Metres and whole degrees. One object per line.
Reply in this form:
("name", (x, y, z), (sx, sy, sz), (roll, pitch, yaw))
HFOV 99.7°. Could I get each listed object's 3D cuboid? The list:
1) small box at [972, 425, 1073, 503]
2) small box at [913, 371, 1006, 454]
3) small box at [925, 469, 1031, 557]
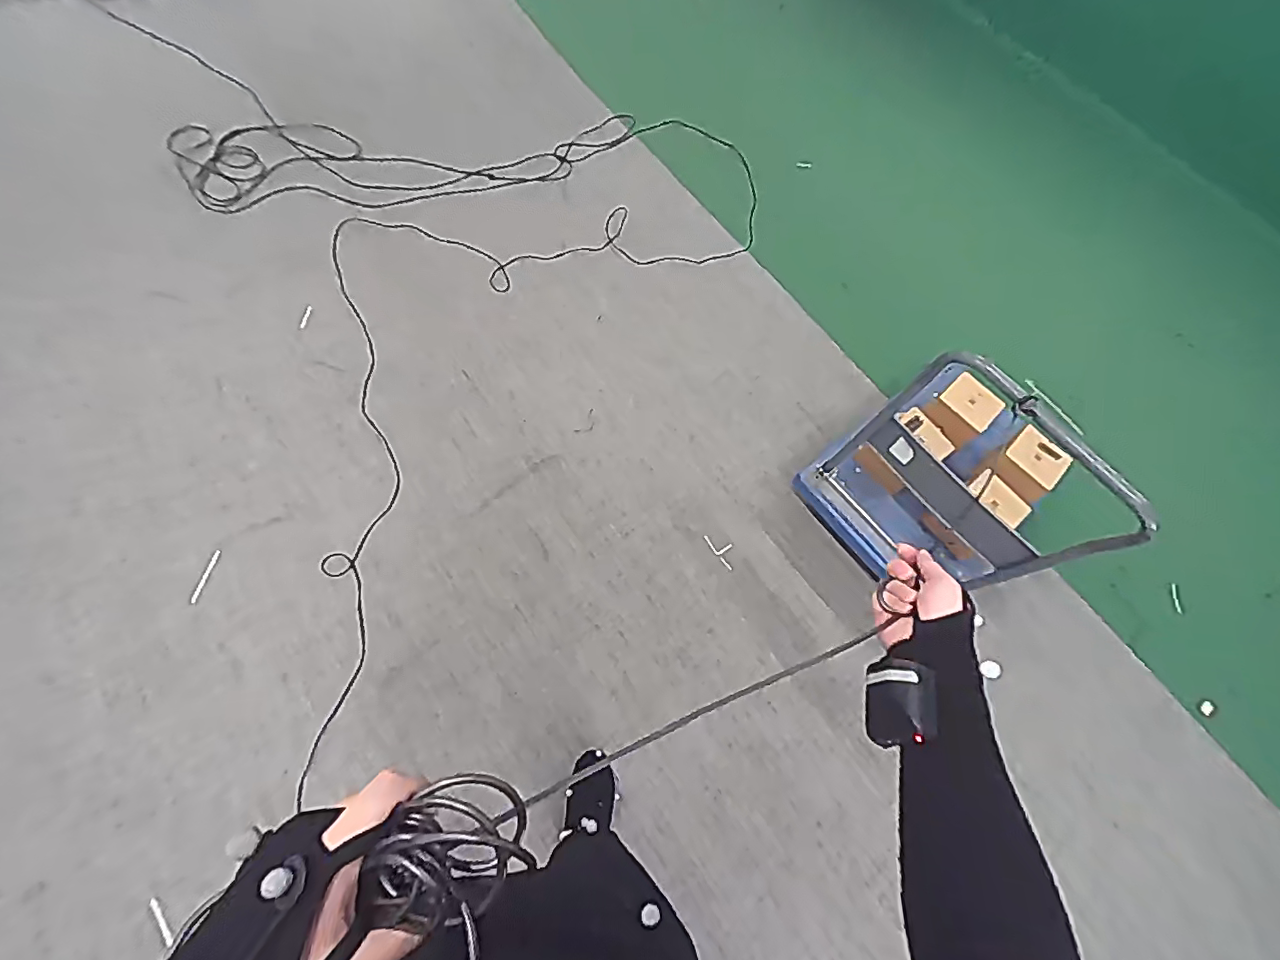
("small box", (1.204, -0.037, 1.715), (0.179, 0.176, 0.168), (-38, 76, -23))
("small box", (1.034, -0.216, 1.768), (0.179, 0.176, 0.168), (-37, 77, -24))
("small box", (0.996, 0.101, 1.611), (0.179, 0.176, 0.168), (-33, 75, -22))
